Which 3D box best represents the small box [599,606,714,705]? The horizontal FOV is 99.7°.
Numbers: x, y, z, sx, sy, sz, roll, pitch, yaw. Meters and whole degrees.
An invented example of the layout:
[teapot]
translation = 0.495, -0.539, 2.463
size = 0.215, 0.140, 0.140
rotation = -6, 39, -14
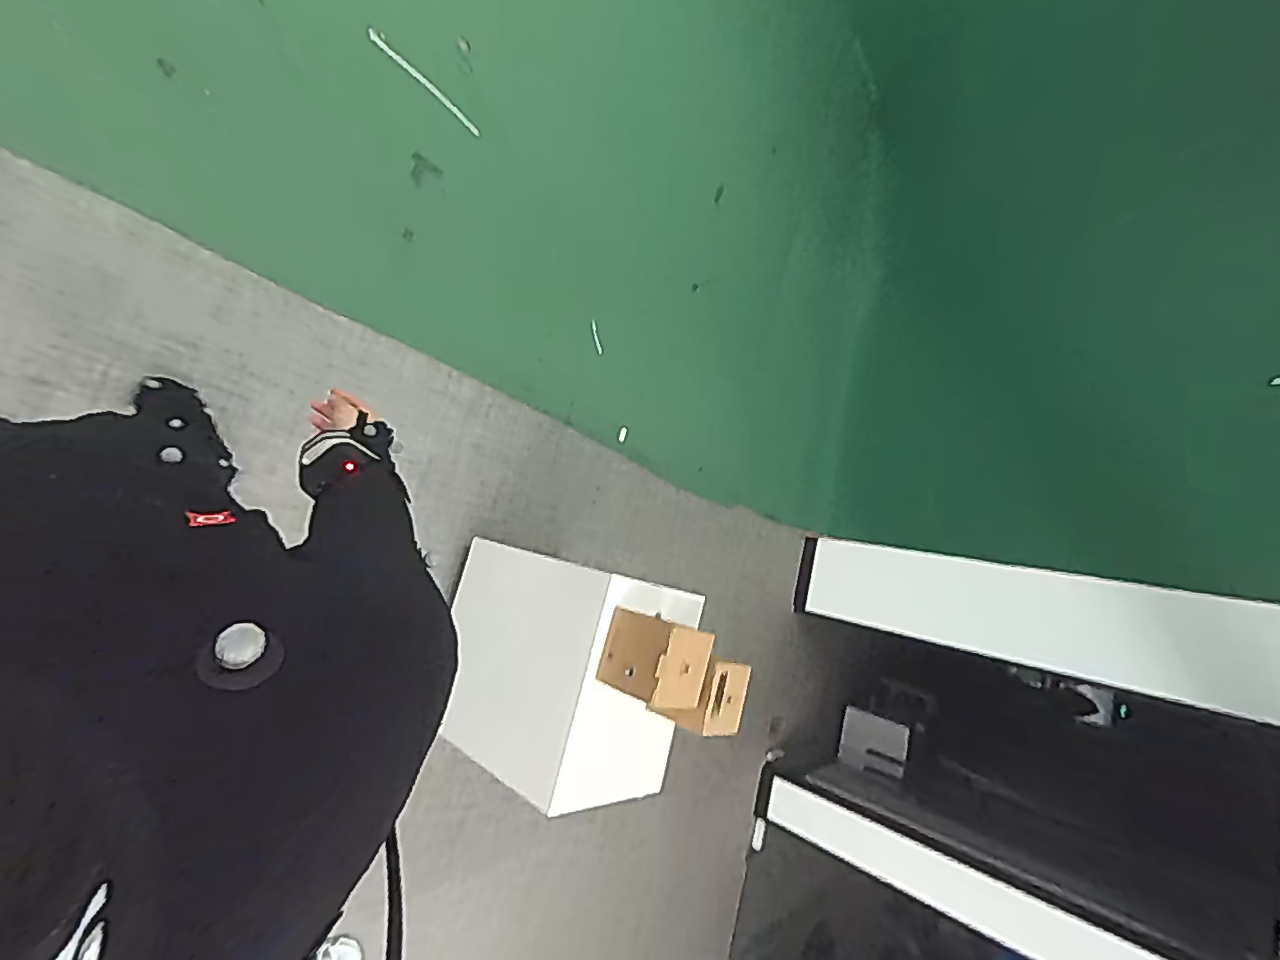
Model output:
[small box]
translation = 0.035, 0.386, 1.200
size = 0.179, 0.176, 0.168
rotation = 28, 75, -49
